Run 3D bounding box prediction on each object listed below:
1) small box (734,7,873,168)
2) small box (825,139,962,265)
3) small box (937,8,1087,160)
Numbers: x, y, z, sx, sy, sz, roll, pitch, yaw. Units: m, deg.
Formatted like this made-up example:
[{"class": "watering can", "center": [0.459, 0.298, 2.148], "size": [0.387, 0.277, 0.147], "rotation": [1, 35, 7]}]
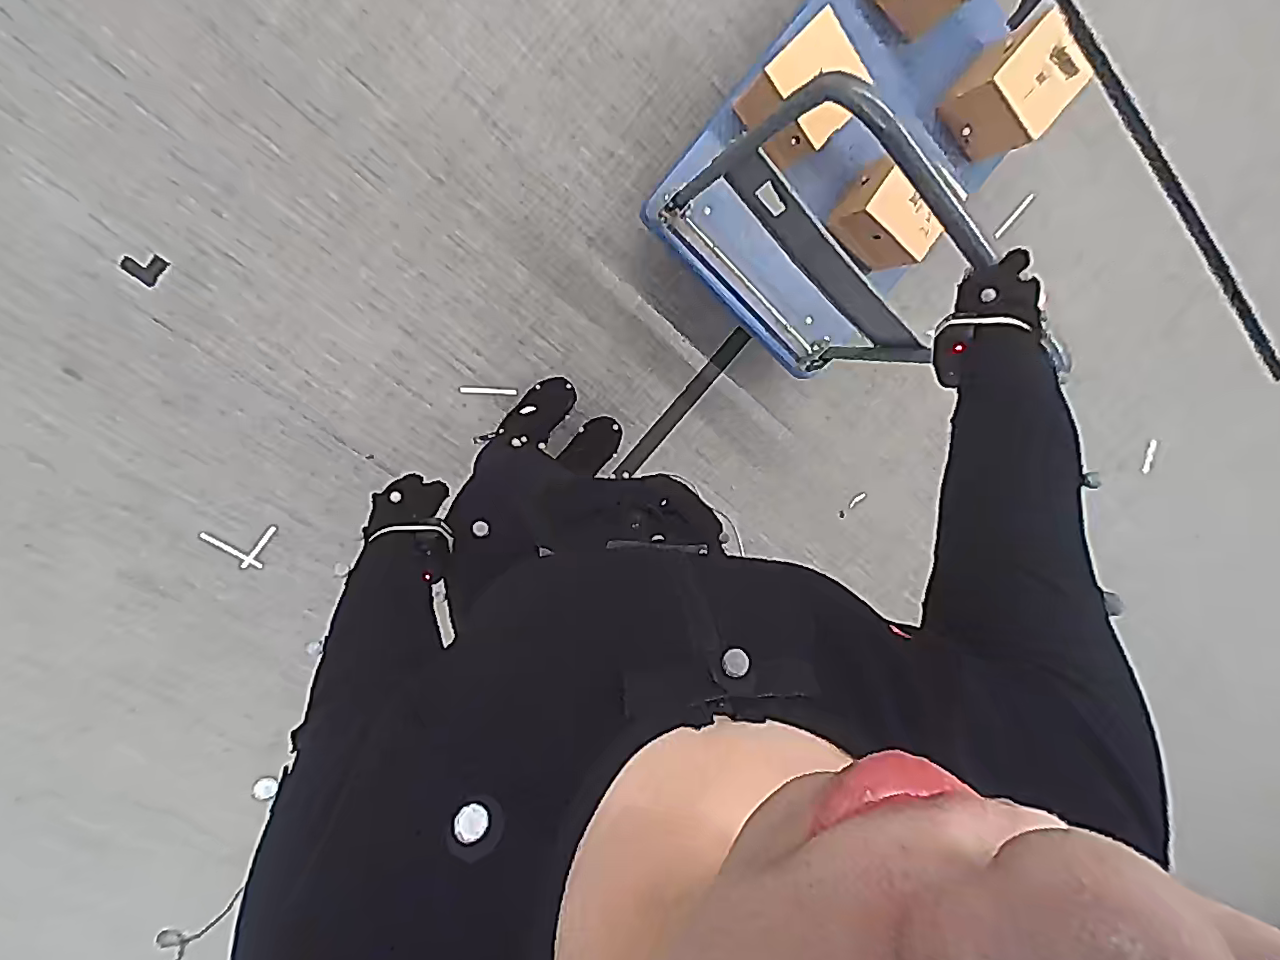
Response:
[{"class": "small box", "center": [0.320, -0.777, 1.096], "size": [0.168, 0.176, 0.179], "rotation": [-45, 111, 2]}, {"class": "small box", "center": [0.549, -0.597, 1.193], "size": [0.179, 0.176, 0.168], "rotation": [33, 97, -18]}, {"class": "small box", "center": [0.798, -0.846, 1.177], "size": [0.168, 0.176, 0.179], "rotation": [39, 96, -18]}]
